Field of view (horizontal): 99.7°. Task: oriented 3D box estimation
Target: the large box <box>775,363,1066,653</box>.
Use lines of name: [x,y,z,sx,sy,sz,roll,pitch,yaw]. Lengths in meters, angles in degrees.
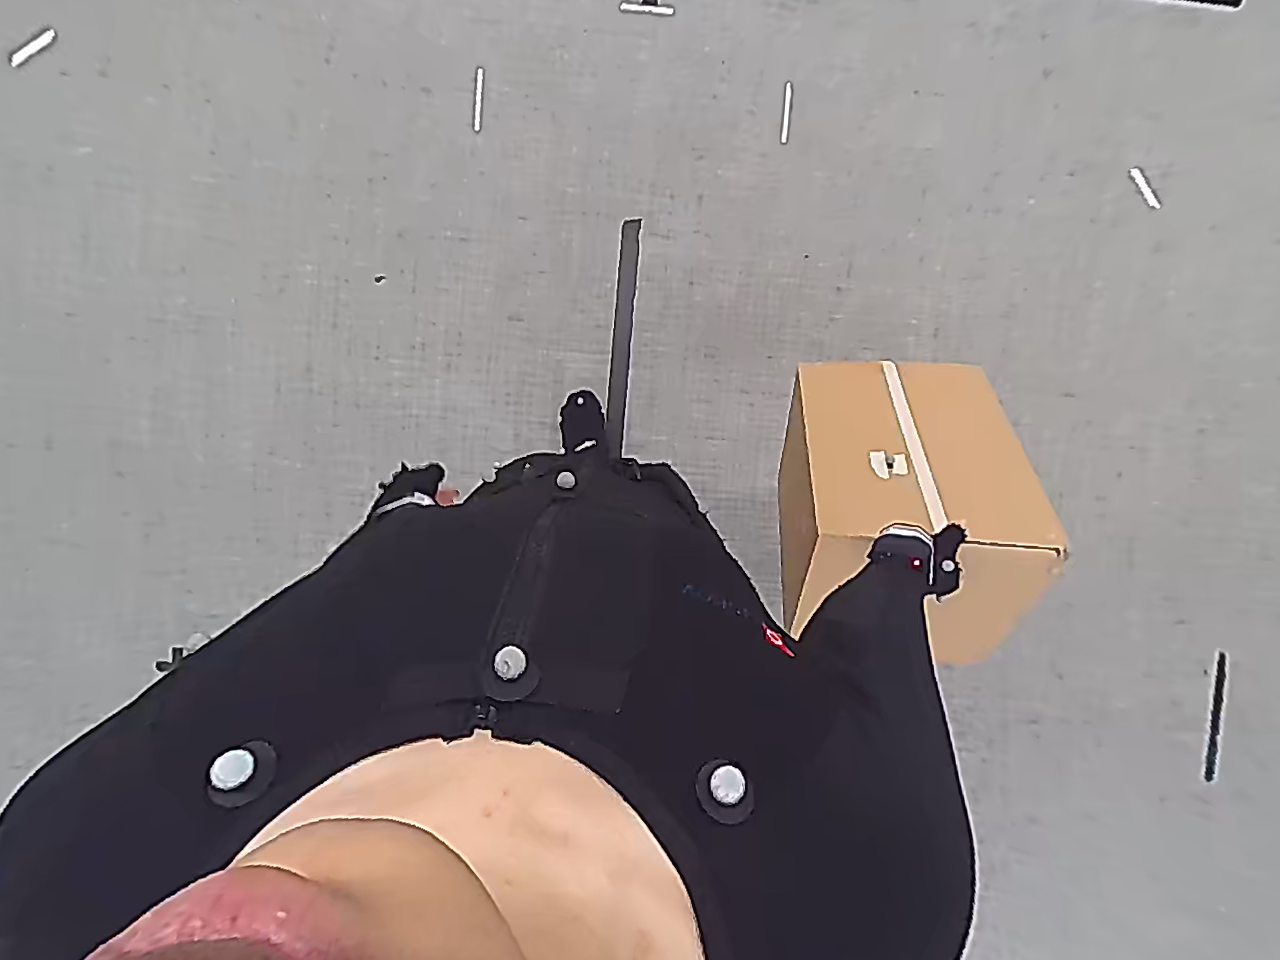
large box: [0.427,0.040,0.955,0.320,0.408,0.320,3,137,7]
